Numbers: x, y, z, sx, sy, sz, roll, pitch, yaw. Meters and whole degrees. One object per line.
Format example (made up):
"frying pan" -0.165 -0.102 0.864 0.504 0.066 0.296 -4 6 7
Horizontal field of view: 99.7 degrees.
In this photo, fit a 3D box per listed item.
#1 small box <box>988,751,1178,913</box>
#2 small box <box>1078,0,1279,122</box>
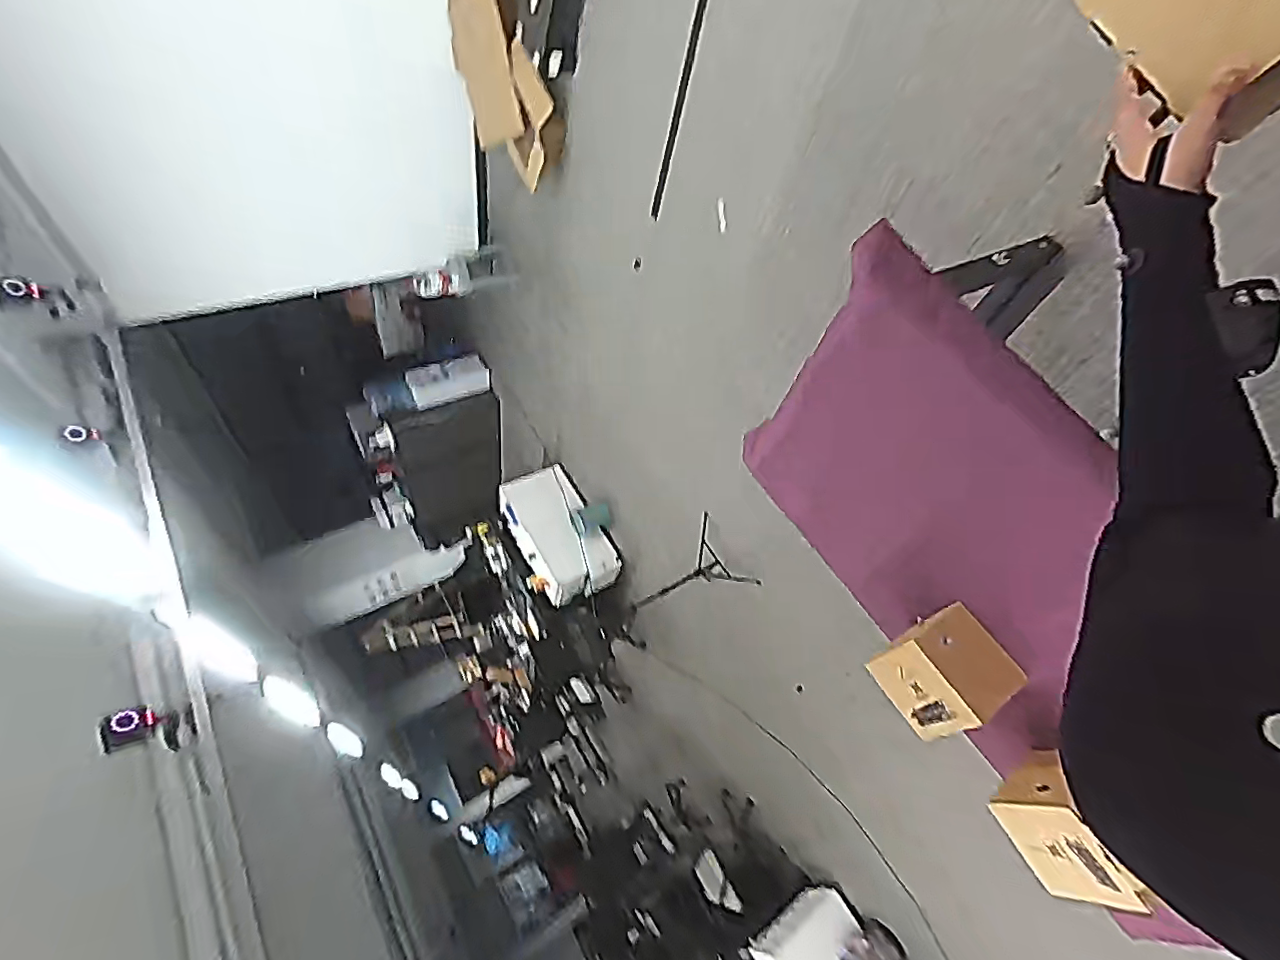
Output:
"small box" 0.770 0.594 0.939 0.168 0.176 0.179 58 152 18
"small box" 0.509 -0.419 0.427 0.168 0.176 0.179 63 148 12
